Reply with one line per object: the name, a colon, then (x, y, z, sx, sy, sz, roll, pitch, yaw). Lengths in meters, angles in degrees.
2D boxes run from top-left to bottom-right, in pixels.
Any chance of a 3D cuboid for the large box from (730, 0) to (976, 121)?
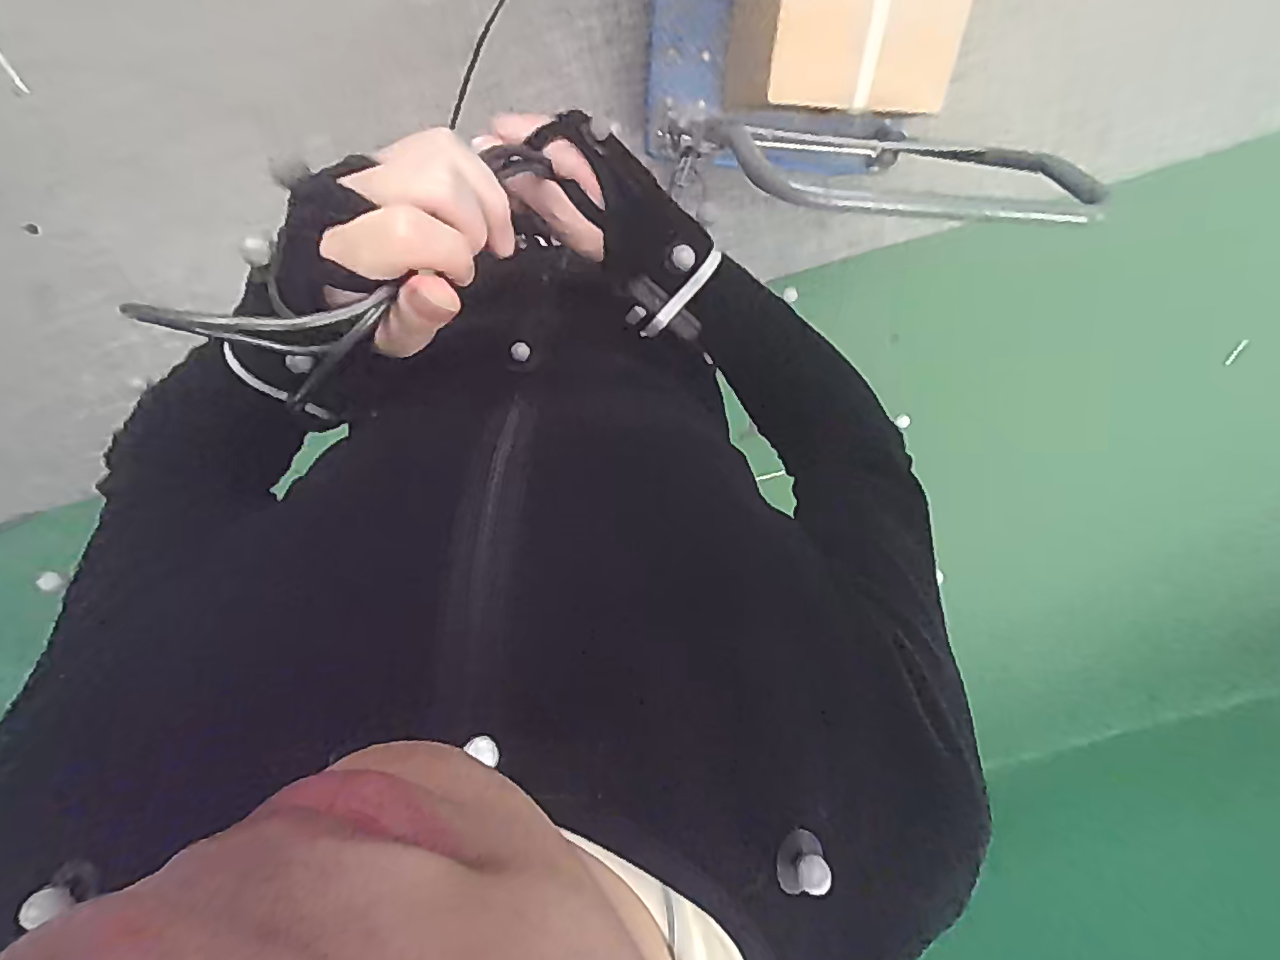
large box: (0.357, -0.862, 0.922, 0.320, 0.320, 0.408, -1, 122, -8)
